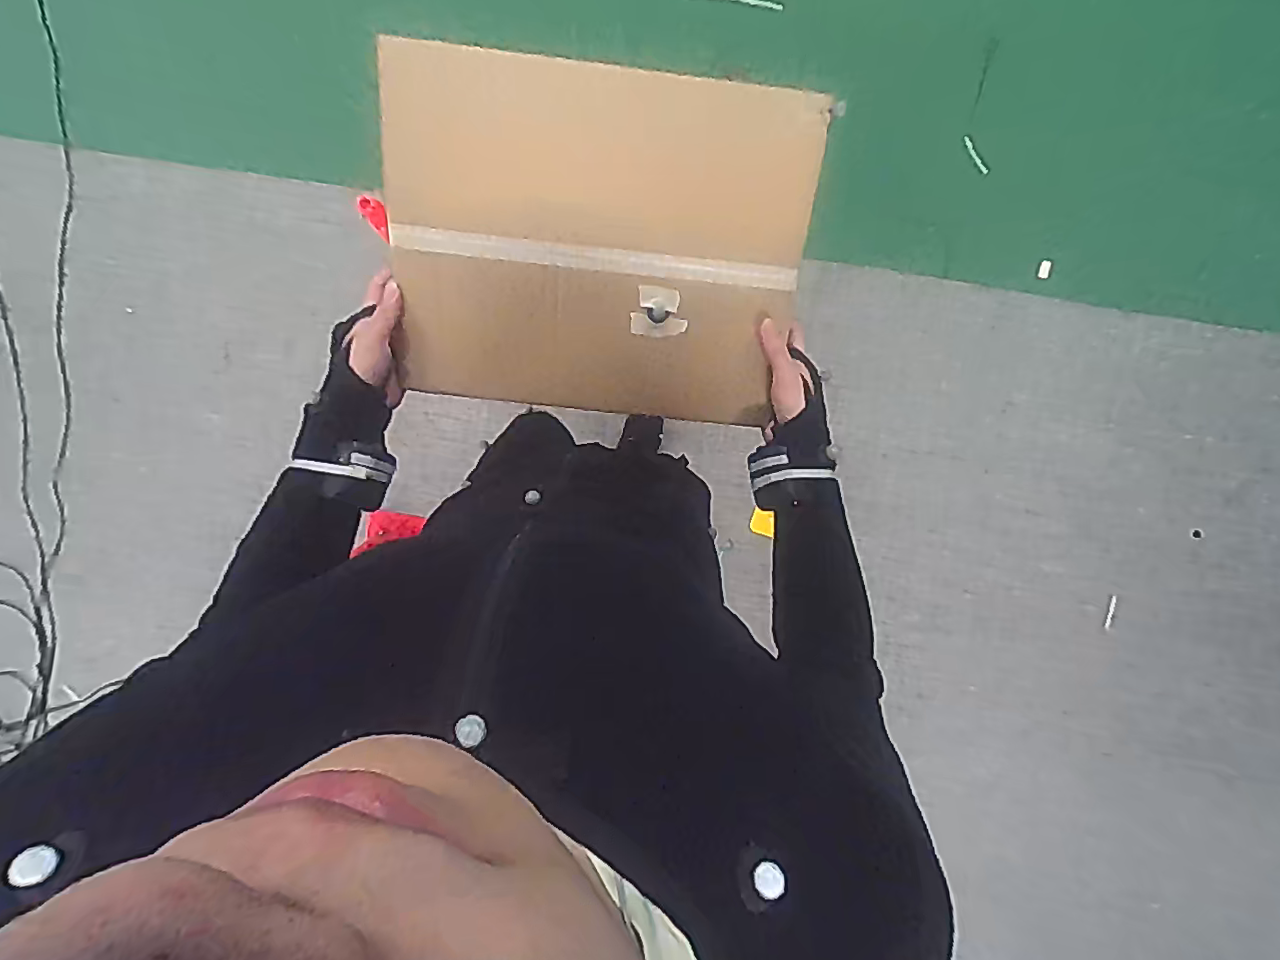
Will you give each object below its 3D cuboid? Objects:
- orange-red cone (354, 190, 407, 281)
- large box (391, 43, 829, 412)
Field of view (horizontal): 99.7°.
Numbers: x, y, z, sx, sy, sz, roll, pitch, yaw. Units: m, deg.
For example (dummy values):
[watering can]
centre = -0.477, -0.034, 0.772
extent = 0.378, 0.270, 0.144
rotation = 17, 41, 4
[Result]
[orange-red cone]
centre = -0.621, -0.646, 1.387
extent = 0.199, 0.360, 0.198
rotation = 16, 95, 1
[large box]
centre = -0.040, -0.287, 0.678
extent = 0.408, 0.320, 0.320
rotation = 5, 114, -3
